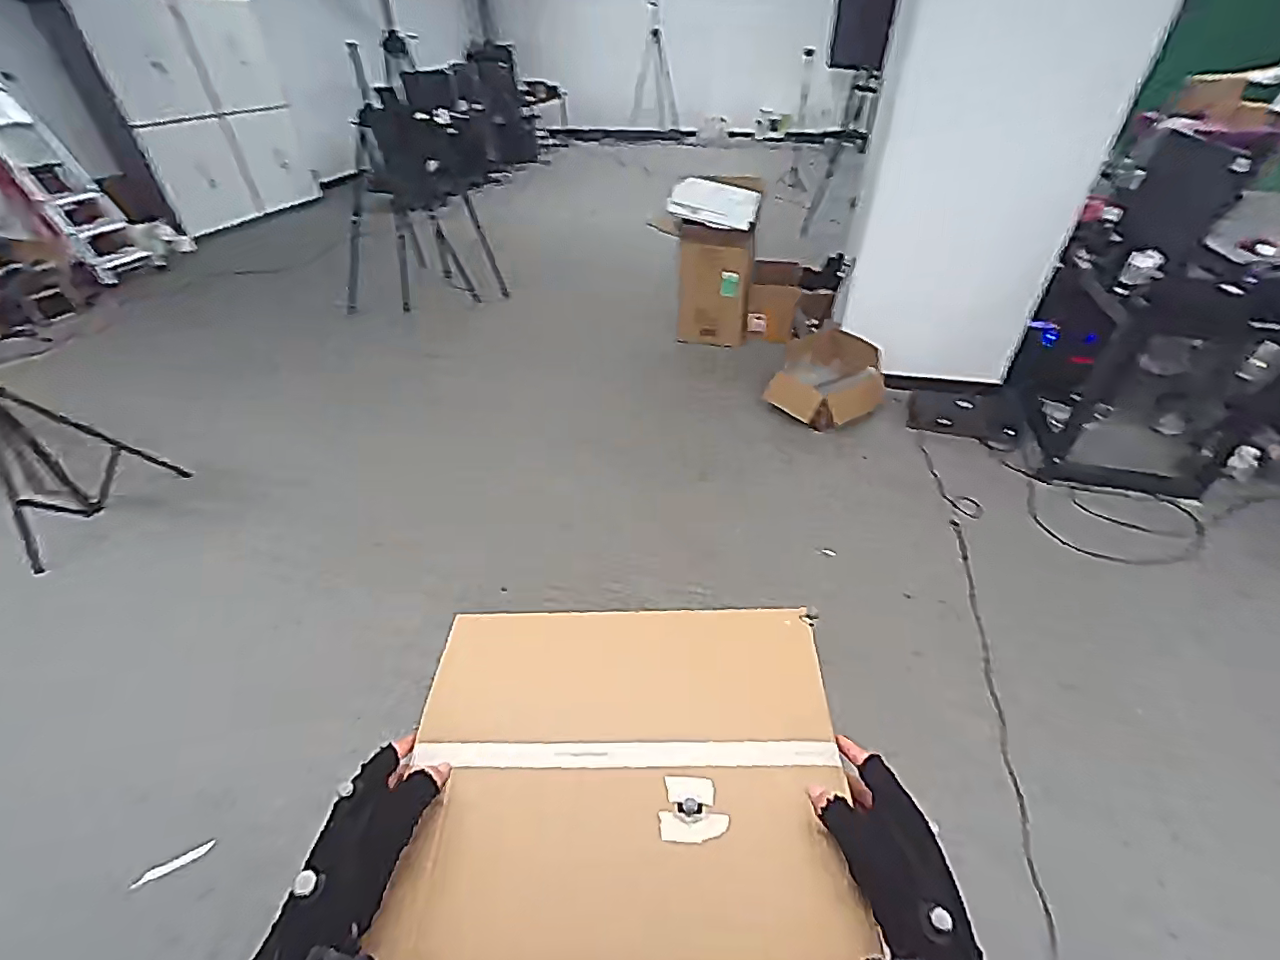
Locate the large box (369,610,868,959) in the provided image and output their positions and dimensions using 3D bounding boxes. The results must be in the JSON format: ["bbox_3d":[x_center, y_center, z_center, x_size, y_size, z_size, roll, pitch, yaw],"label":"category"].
[{"bbox_3d":[-0.012,0.373,0.630,0.408,0.320,0.320,-2,44,3],"label":"large box"}]
